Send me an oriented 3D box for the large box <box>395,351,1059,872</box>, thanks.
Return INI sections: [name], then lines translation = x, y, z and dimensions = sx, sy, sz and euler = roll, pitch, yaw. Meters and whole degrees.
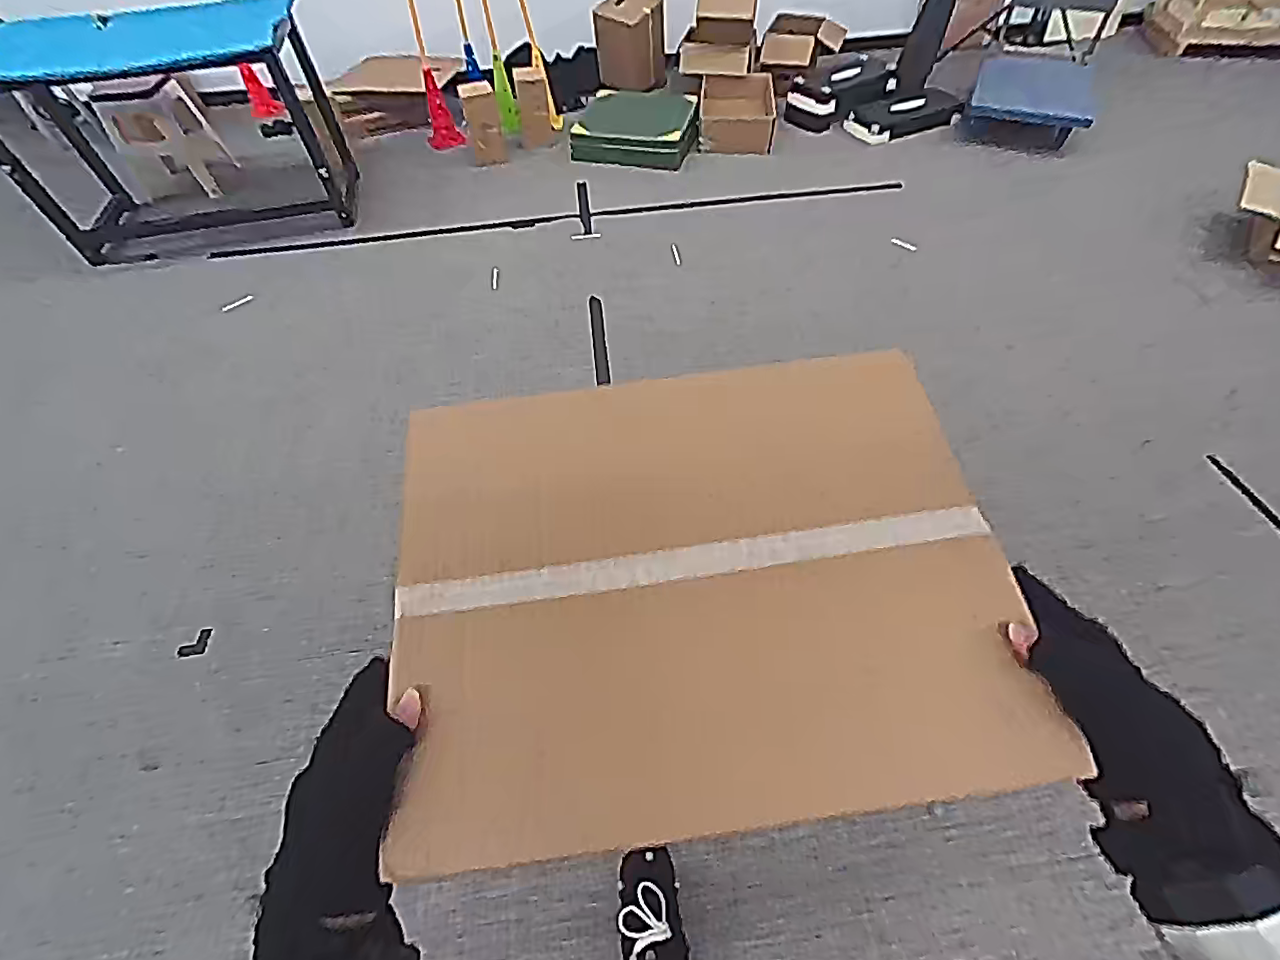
[large box]
translation = 0.041, 0.121, 0.511
dimensions = 0.408, 0.320, 0.320
euler = -8, 63, -1
